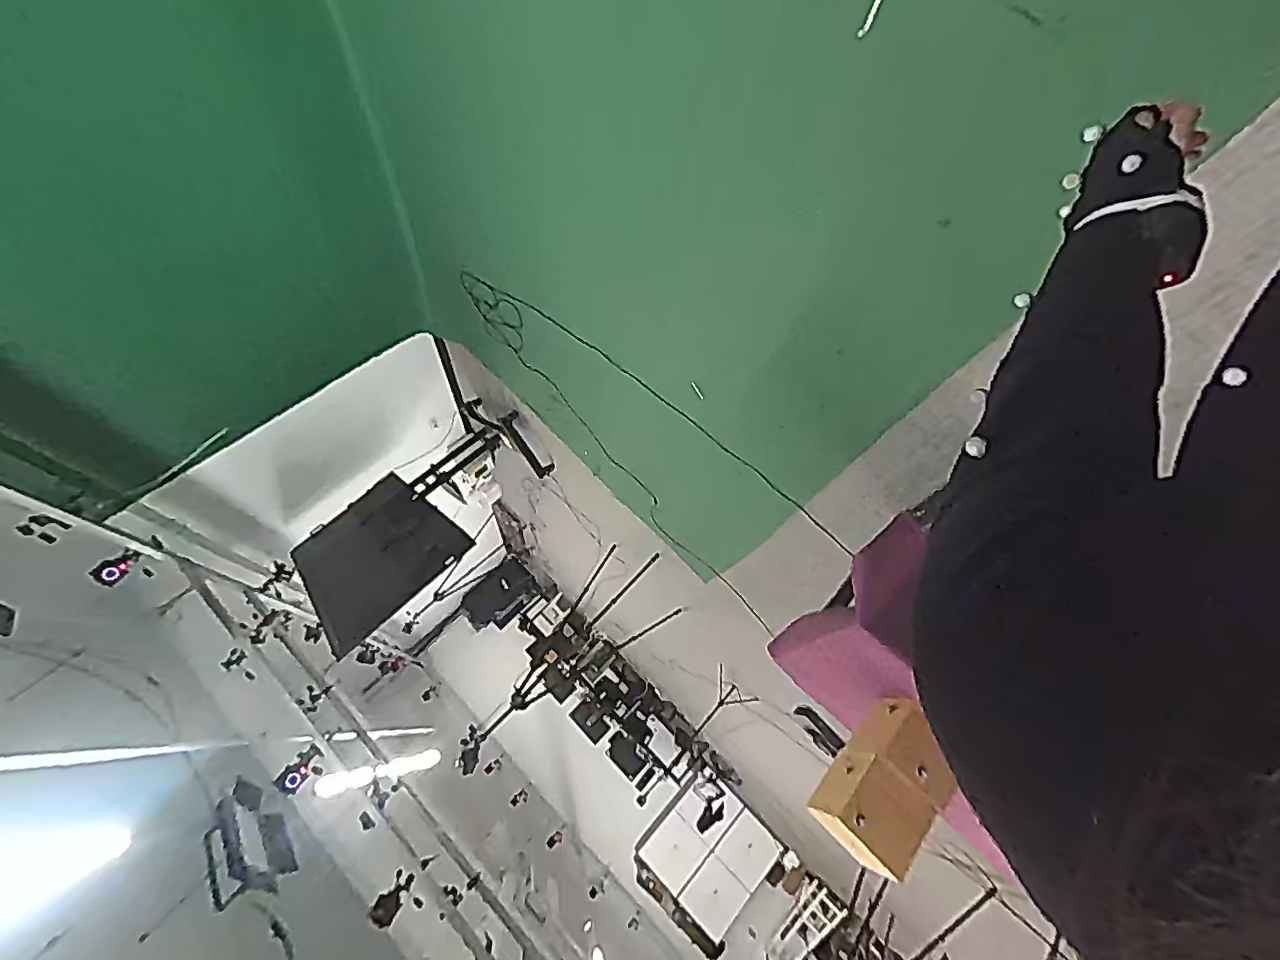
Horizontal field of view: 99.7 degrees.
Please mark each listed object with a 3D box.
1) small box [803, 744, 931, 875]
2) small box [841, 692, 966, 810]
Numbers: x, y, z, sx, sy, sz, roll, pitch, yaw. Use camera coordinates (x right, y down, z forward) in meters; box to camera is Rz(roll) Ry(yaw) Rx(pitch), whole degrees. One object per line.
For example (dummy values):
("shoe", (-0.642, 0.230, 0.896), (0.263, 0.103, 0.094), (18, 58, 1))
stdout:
("small box", (0.517, 0.739, 1.233), (0.179, 0.176, 0.168), (44, 157, 10))
("small box", (0.629, 0.636, 1.290), (0.179, 0.176, 0.168), (45, 157, 8))
